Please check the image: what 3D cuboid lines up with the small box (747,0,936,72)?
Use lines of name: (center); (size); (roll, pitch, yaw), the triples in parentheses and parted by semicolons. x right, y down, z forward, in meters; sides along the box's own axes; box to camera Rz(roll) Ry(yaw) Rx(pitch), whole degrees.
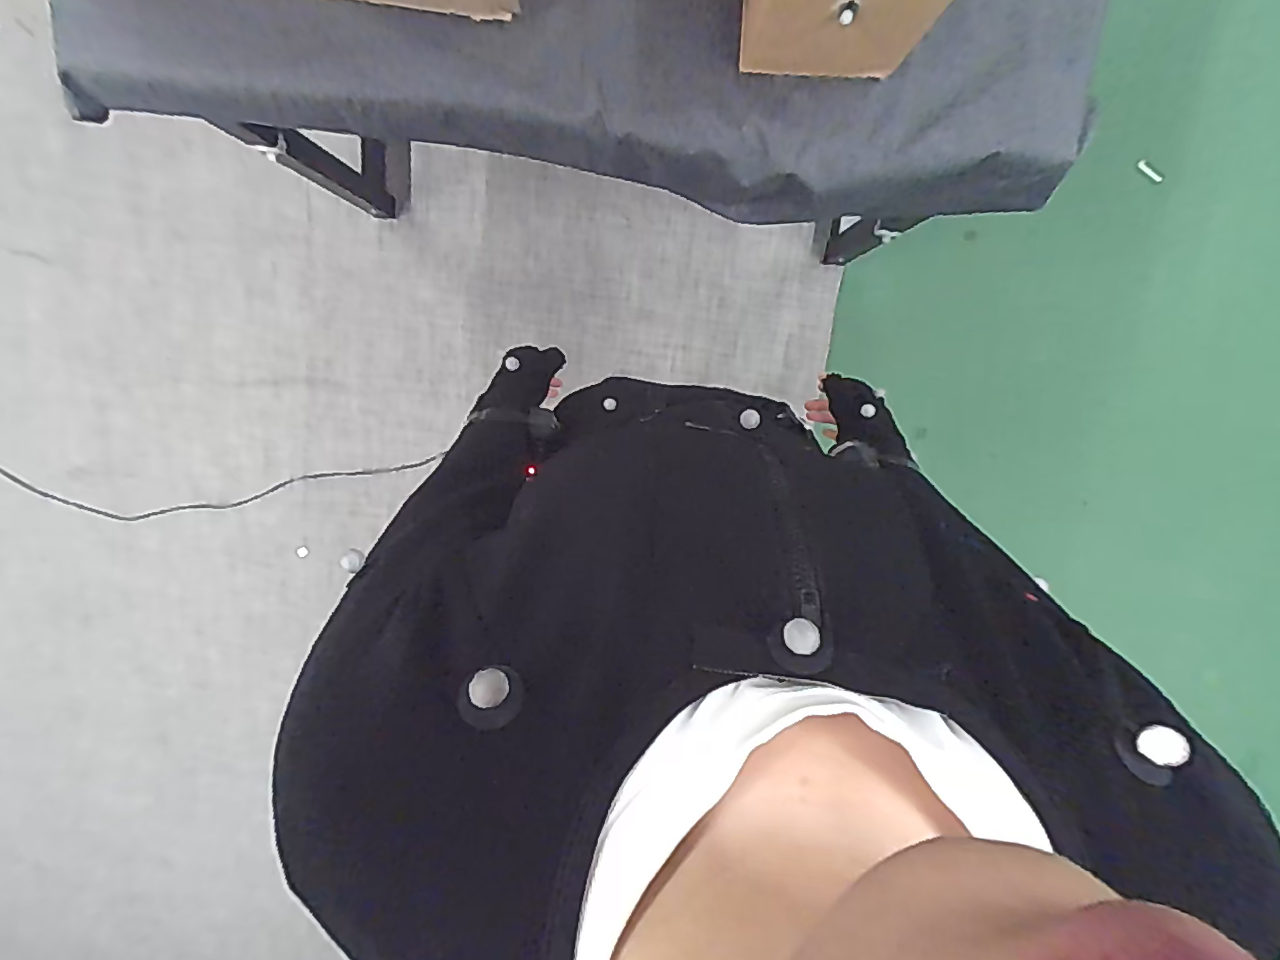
small box: (0.211, -0.546, 0.543); (0.179, 0.176, 0.168); (2, 103, -1)
